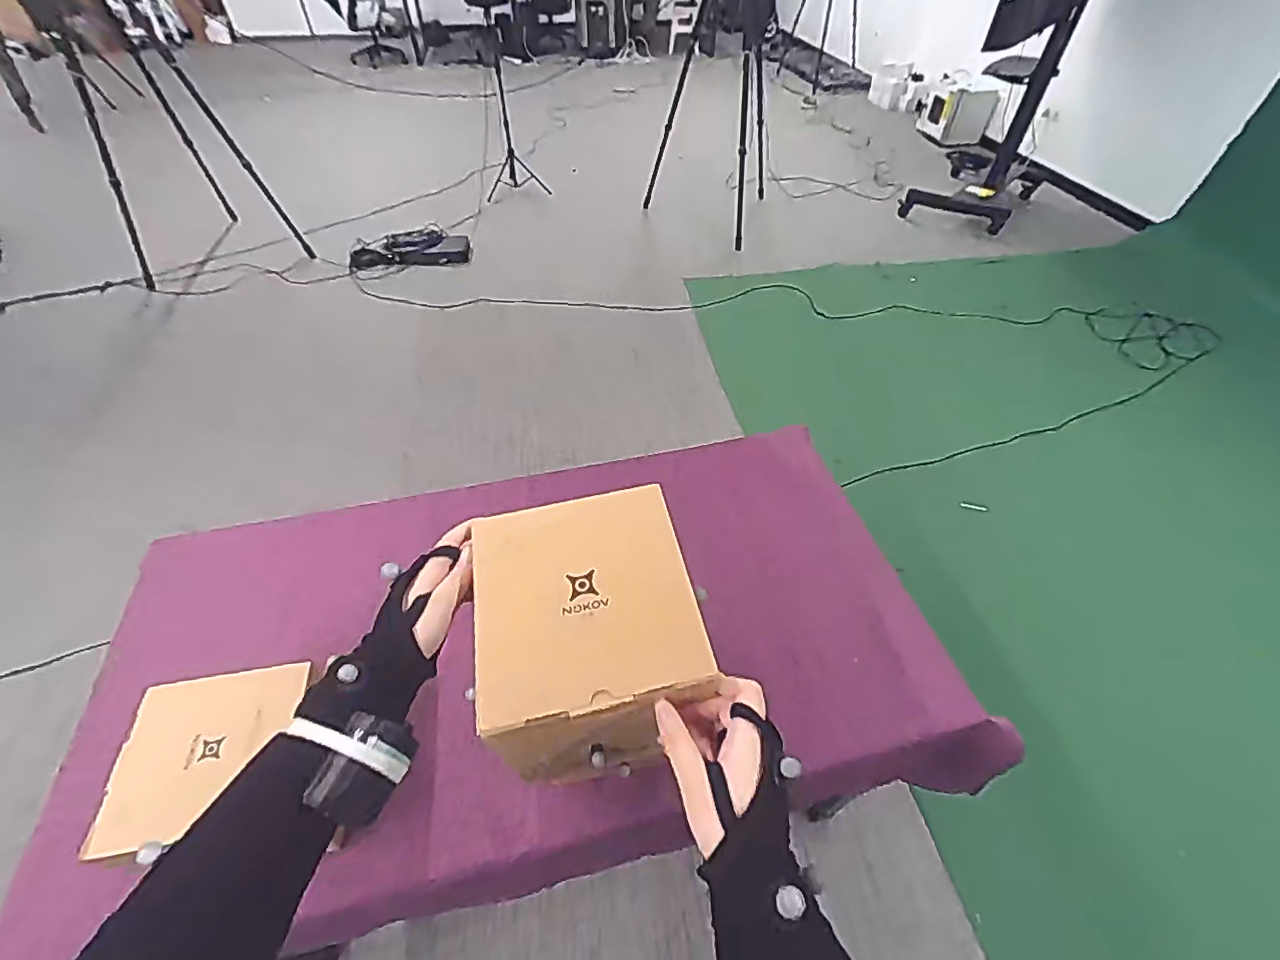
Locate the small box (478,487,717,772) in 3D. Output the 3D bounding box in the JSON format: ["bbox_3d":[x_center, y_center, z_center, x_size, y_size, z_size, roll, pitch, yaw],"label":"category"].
[{"bbox_3d":[-0.041,0.135,0.485,0.168,0.176,0.179,-11,53,-7],"label":"small box"}]

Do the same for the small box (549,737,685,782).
[{"bbox_3d":[-0.040,0.264,0.693,0.179,0.176,0.168,-8,48,-9],"label":"small box"}]

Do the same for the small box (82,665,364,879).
[{"bbox_3d":[-0.449,0.338,0.622,0.179,0.176,0.168,-7,49,-8],"label":"small box"}]
